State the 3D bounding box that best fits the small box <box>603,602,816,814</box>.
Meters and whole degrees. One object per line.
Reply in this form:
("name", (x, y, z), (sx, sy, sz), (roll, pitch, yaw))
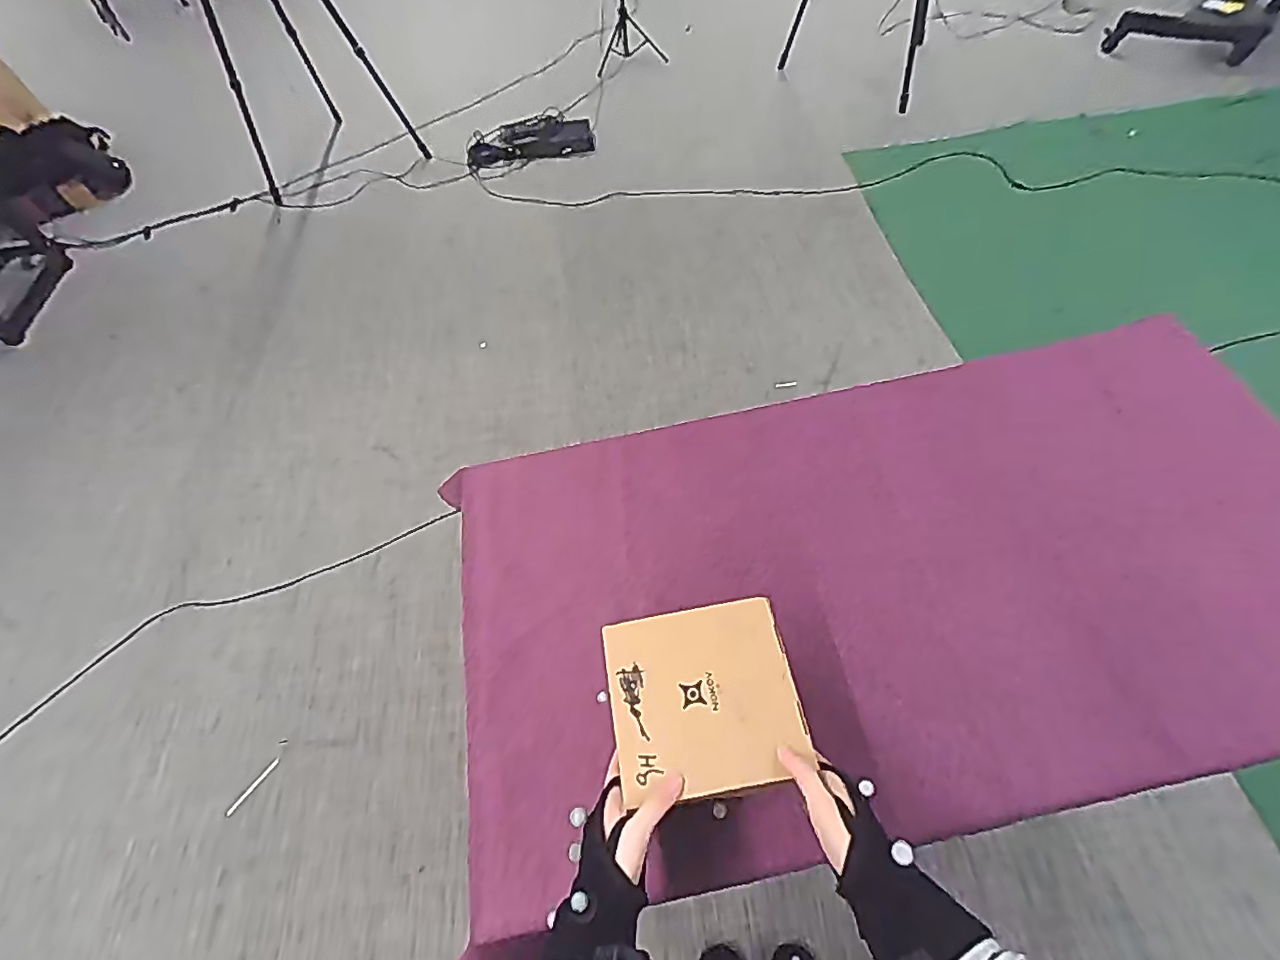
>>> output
("small box", (0.064, 0.247, 0.577), (0.179, 0.176, 0.168), (-10, 56, -1))
